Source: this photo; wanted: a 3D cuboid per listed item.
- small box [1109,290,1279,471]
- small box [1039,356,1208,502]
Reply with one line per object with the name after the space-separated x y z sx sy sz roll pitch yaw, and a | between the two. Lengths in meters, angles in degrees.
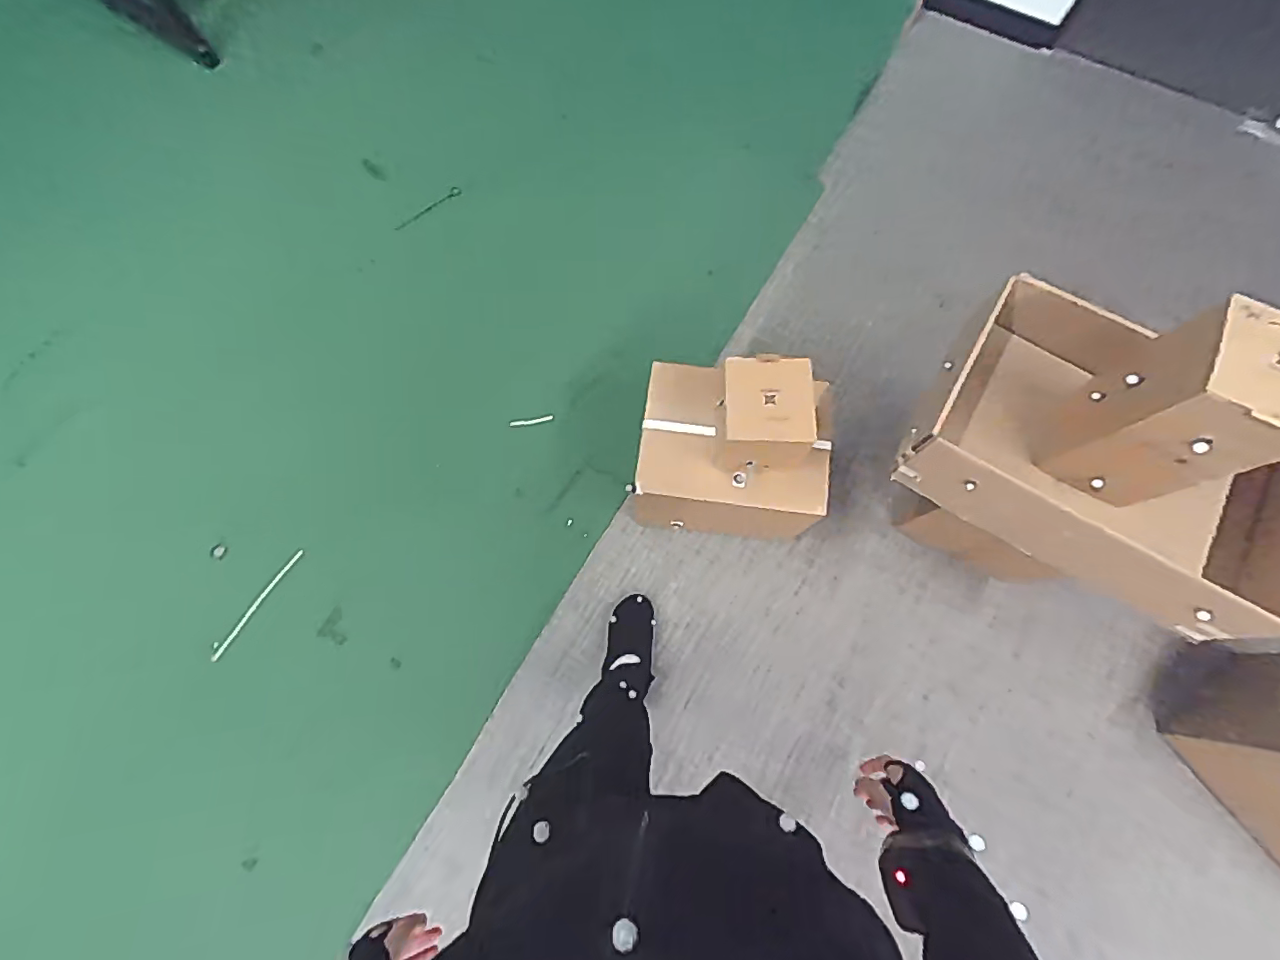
0.854 -0.135 0.800 0.168 0.176 0.179 27 76 8 | small box
0.859 -0.087 0.957 0.168 0.176 0.179 29 76 9 | small box
